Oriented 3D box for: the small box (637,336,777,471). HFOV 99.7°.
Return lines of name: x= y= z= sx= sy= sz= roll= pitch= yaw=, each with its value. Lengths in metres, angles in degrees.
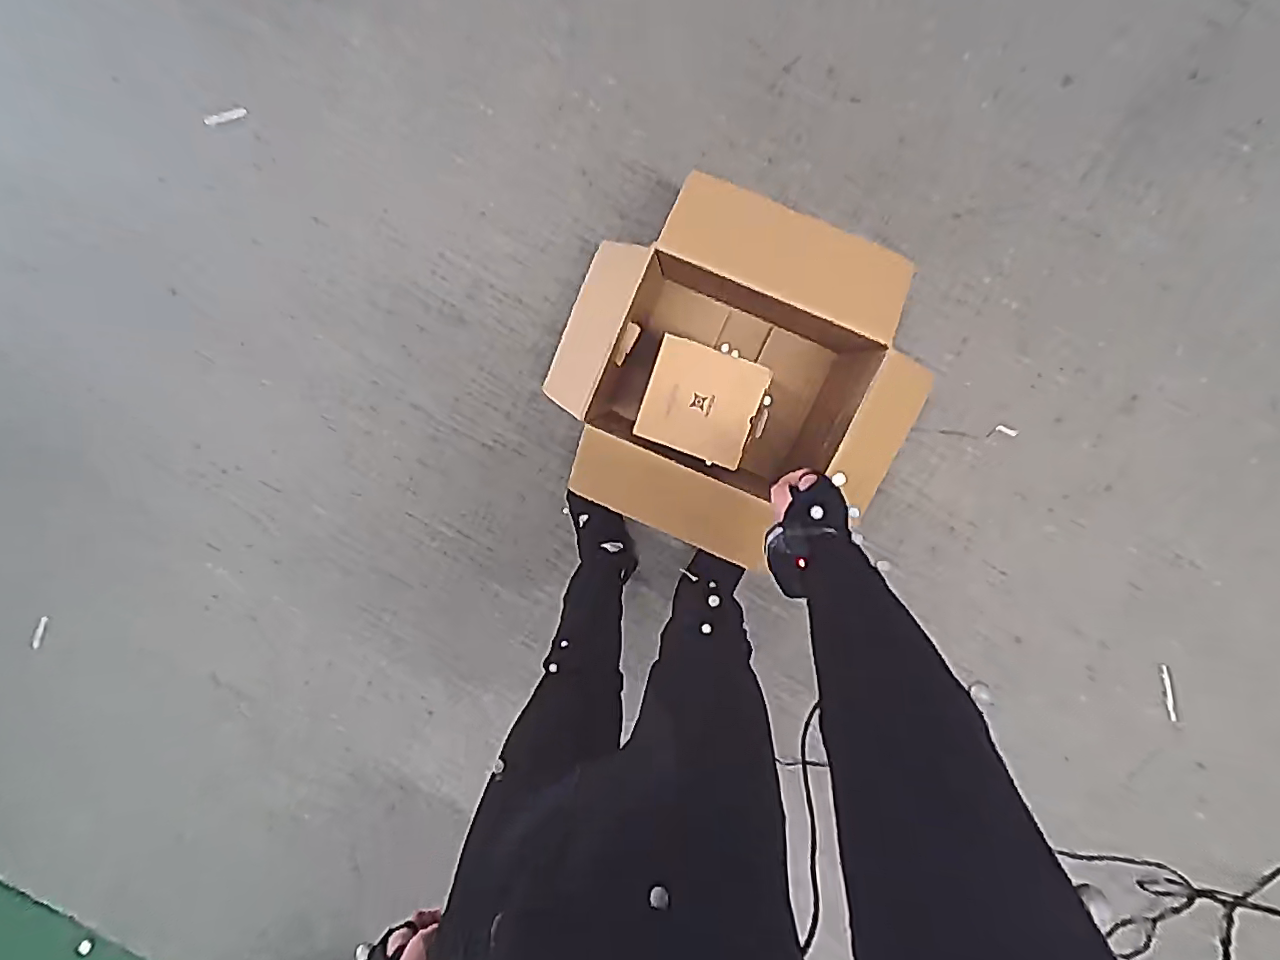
small box: x=0.116 y=-0.129 z=0.913 sx=0.179 sy=0.176 sz=0.168 roll=21 pitch=100 yaw=8
